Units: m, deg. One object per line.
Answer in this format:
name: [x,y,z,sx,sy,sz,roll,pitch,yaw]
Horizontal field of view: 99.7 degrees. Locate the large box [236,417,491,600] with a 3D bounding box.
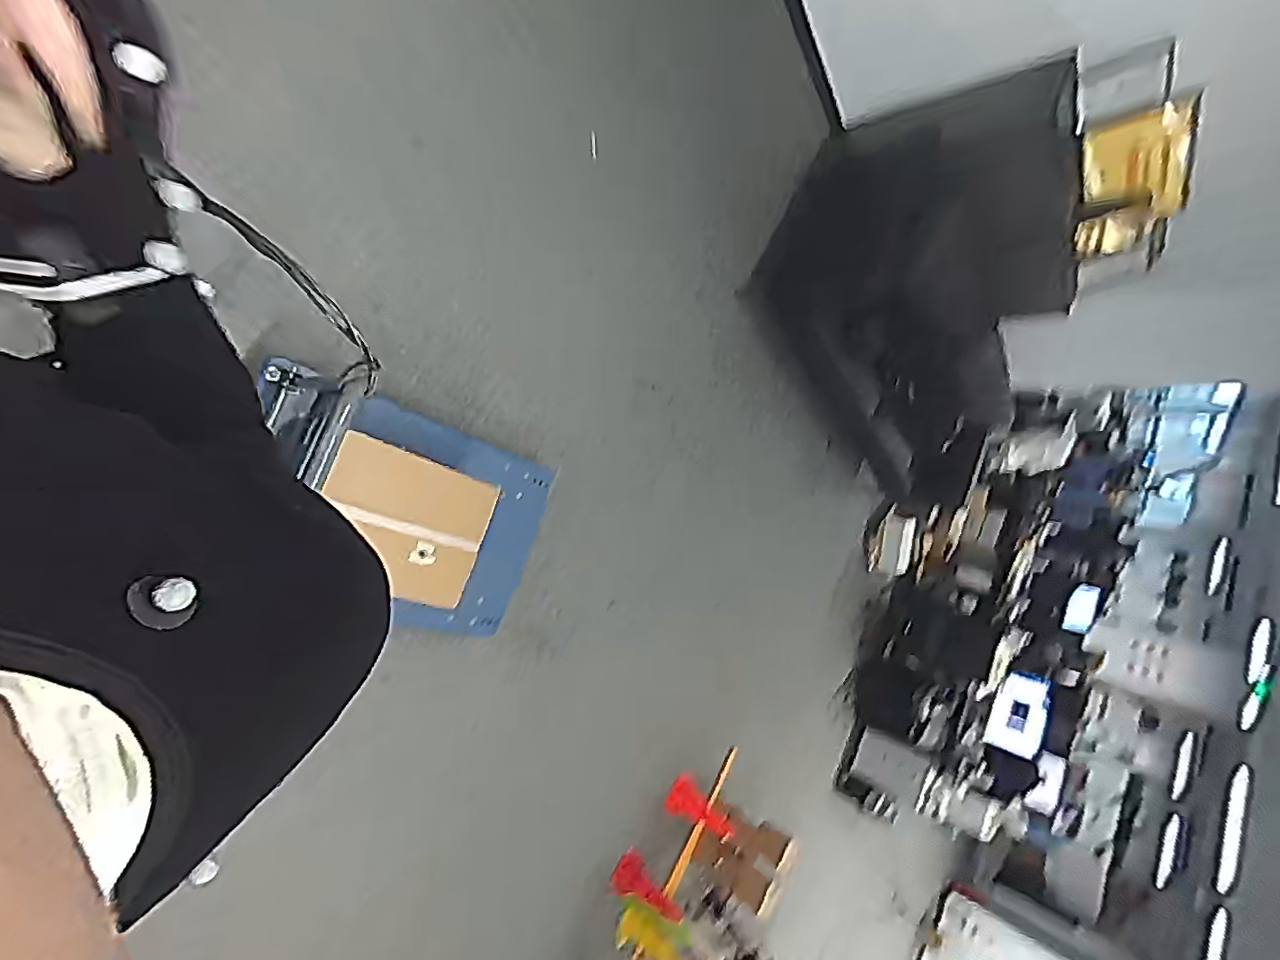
large box: [-0.652,0.068,1.297,0.408,0.320,0.320,29,77,-46]
